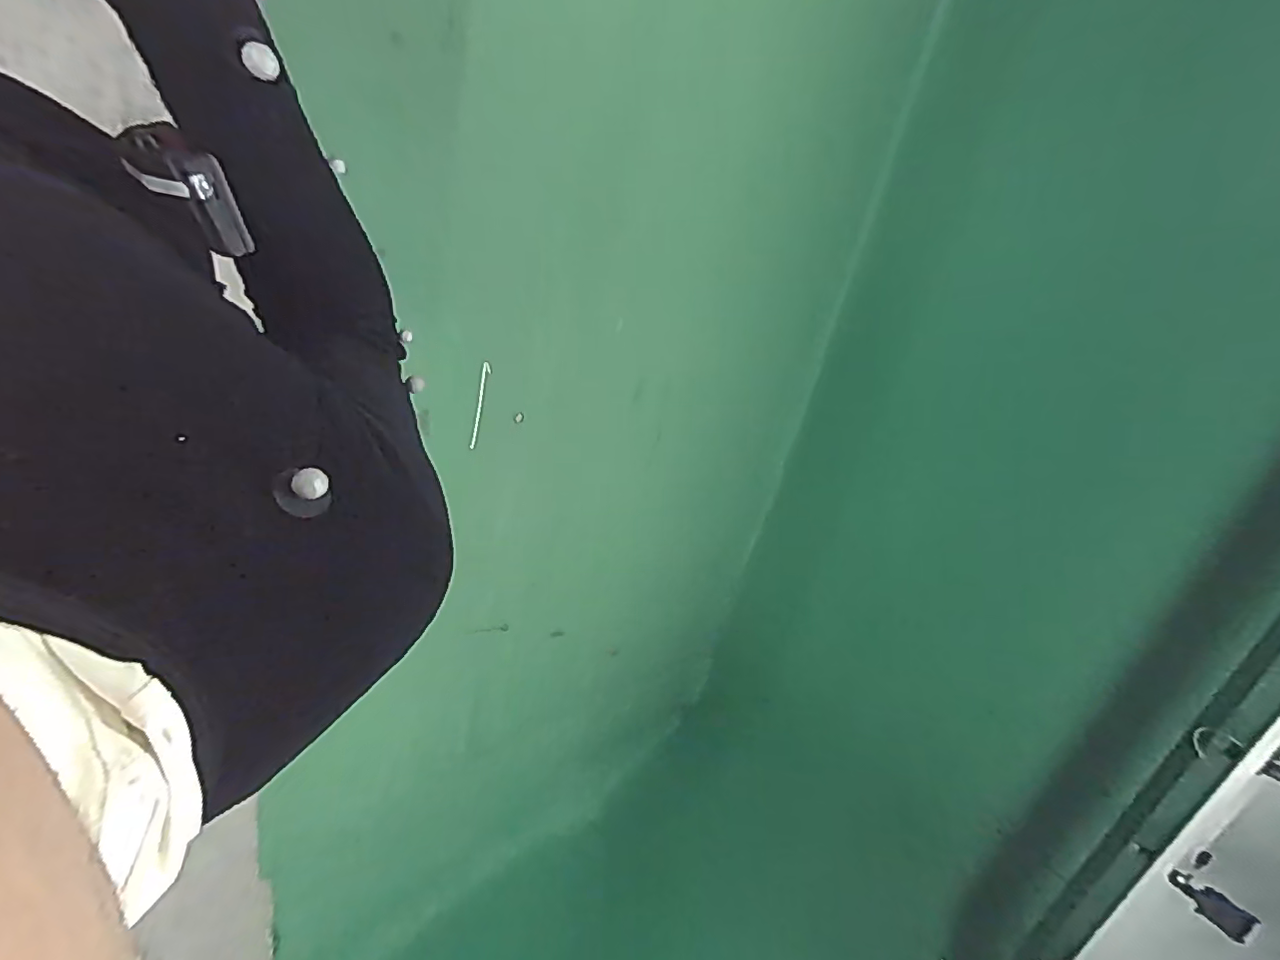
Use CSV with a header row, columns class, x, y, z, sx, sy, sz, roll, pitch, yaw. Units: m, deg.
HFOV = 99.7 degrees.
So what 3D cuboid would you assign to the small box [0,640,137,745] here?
class,x,y,z,sx,sy,sz,roll,pitch,yaw
small box,-1.389,0.515,1.317,0.168,0.176,0.179,-54,142,-8
